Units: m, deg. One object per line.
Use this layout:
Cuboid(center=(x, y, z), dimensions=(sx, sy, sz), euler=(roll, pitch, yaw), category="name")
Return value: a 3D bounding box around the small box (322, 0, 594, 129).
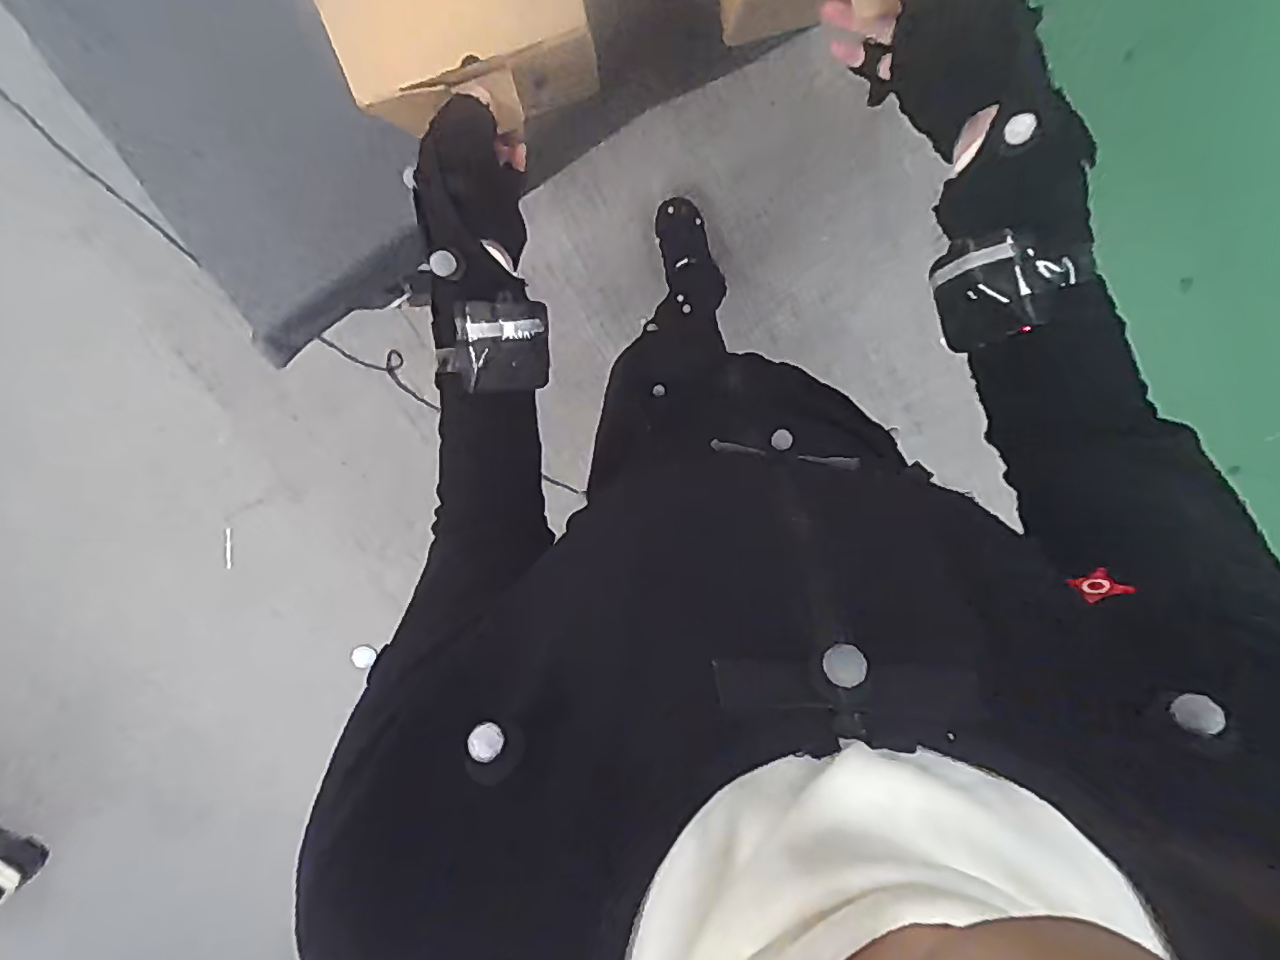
Cuboid(center=(-0.137, -0.387, 0.402), dimensions=(0.168, 0.176, 0.179), euler=(-16, 112, 4), category="small box")
